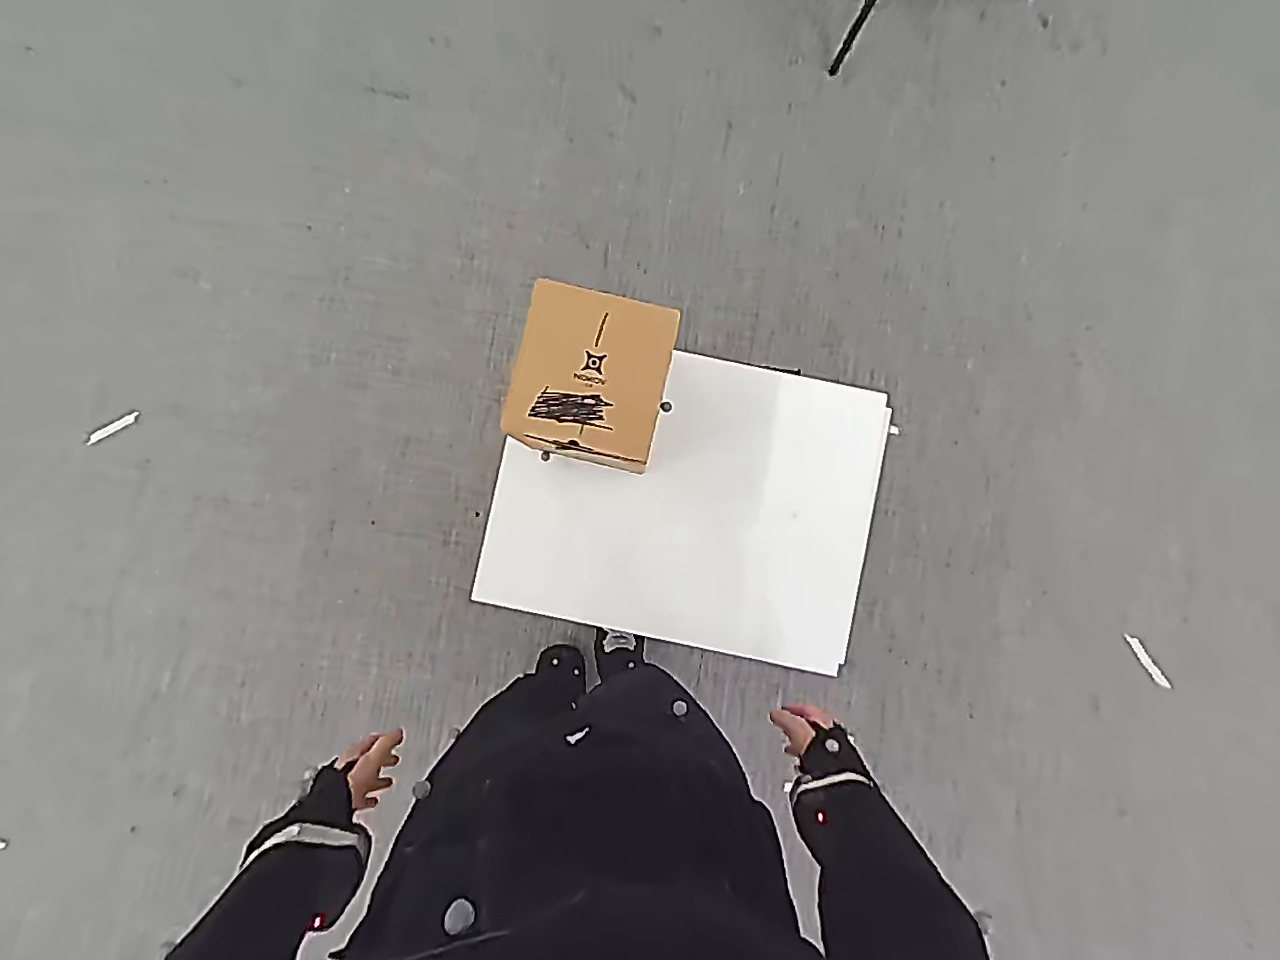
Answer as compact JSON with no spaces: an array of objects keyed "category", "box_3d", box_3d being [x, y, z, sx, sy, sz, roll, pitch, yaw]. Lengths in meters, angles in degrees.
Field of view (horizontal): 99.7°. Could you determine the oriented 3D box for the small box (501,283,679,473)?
[{"category":"small box","box_3d":[-0.054,-0.110,0.668,0.168,0.176,0.179,13,86,0]}]
